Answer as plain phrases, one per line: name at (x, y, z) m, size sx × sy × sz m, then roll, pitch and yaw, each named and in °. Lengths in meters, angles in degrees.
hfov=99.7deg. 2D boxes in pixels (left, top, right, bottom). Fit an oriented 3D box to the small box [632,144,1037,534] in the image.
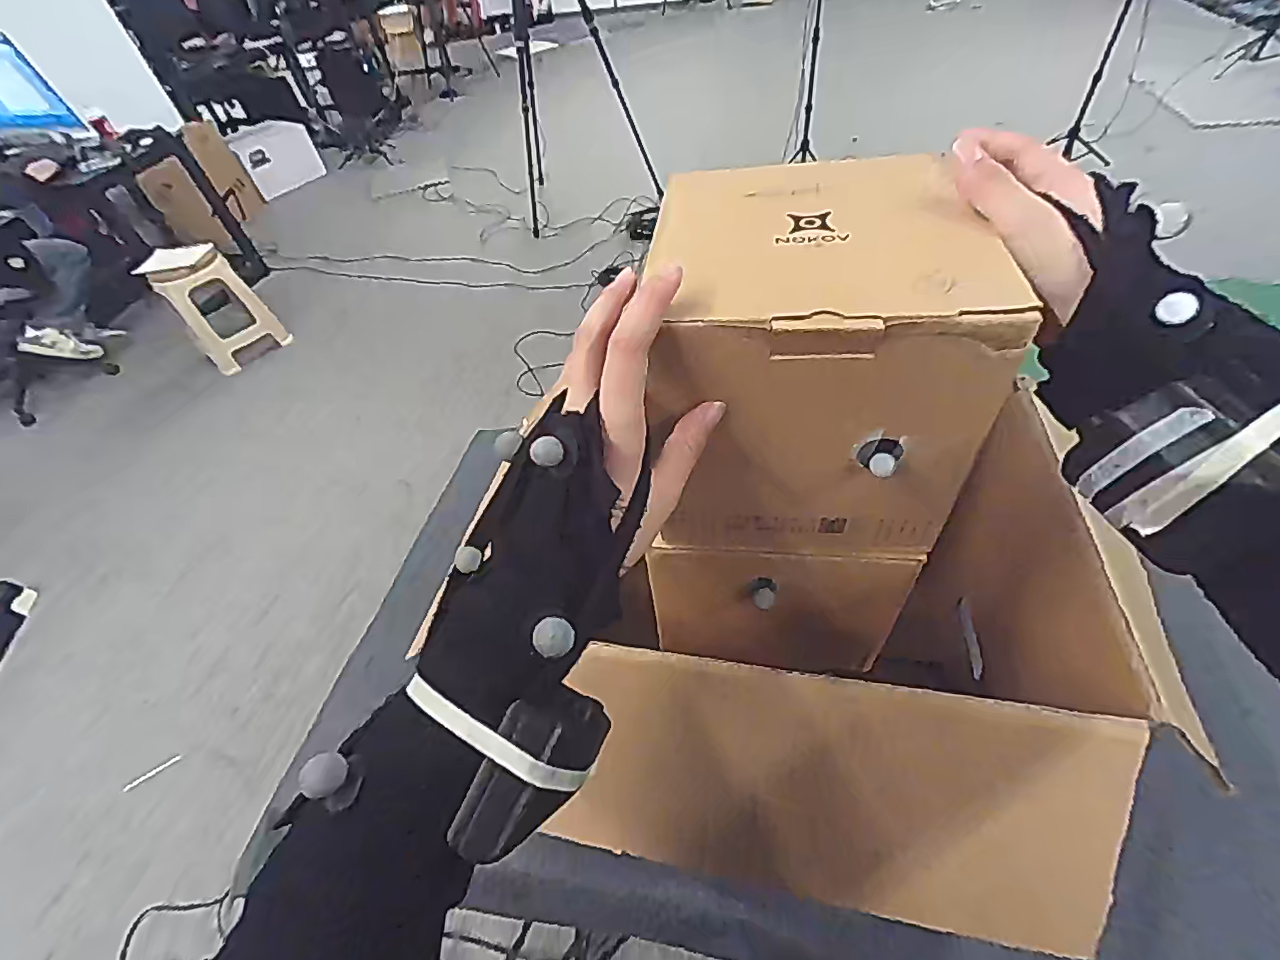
small box at (0.095, -0.082, 0.337) m, size 0.168 × 0.176 × 0.179 m, roll 2°, pitch 48°, yaw 9°
